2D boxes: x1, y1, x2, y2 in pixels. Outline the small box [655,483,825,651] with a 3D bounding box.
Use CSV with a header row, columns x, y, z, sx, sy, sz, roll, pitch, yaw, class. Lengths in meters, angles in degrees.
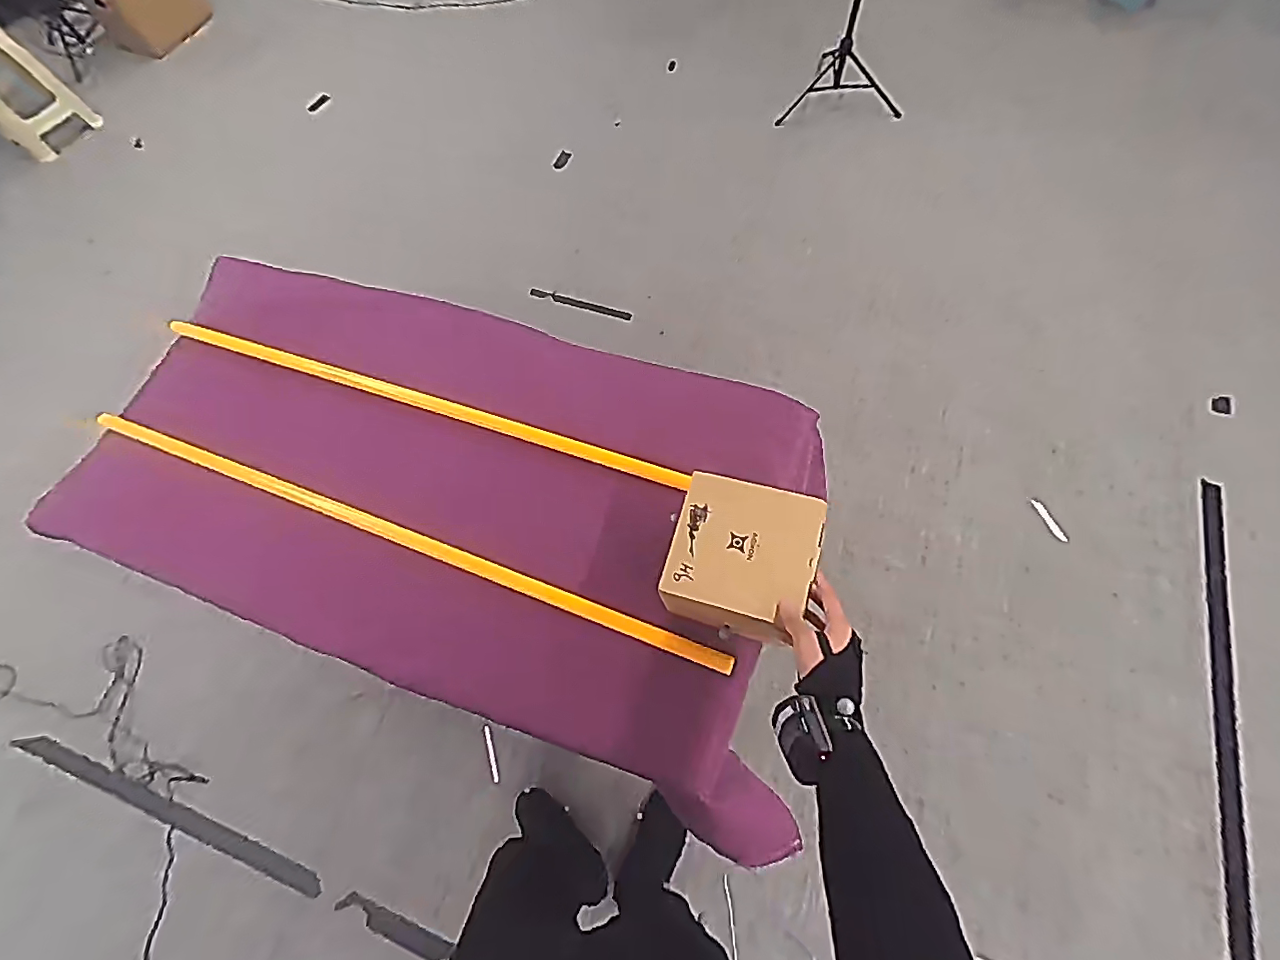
x,y,z,sx,sy,sz,roll,pitch,yaw,class
0.134,0.127,0.742,0.179,0.176,0.168,15,70,14,small box
